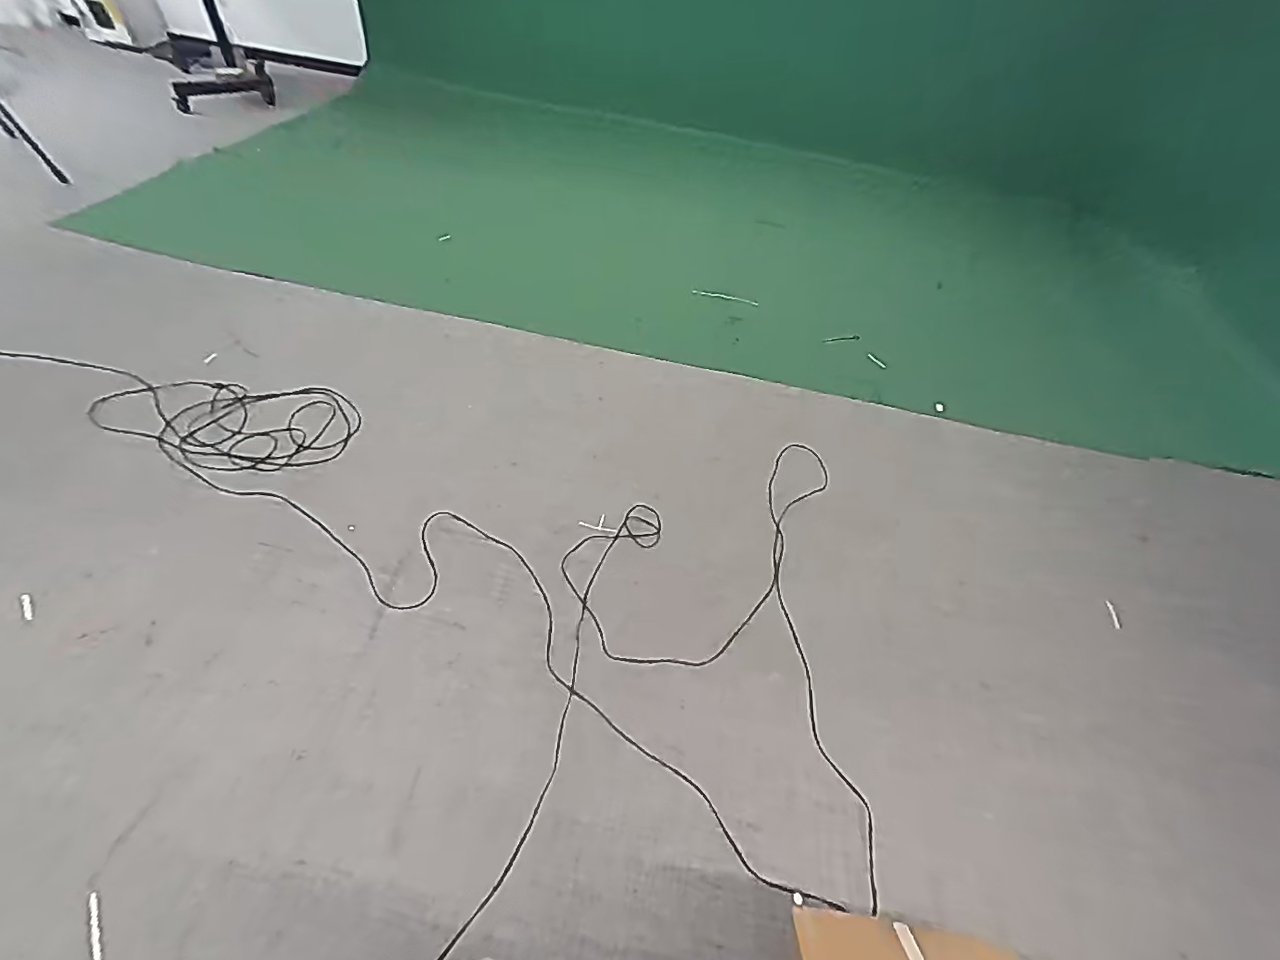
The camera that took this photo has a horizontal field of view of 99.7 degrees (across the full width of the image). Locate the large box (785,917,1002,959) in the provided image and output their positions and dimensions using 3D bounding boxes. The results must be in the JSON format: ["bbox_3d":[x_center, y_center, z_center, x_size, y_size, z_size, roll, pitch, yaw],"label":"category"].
[{"bbox_3d":[0.344,0.821,0.606,0.320,0.408,0.320,8,90,5],"label":"large box"}]
